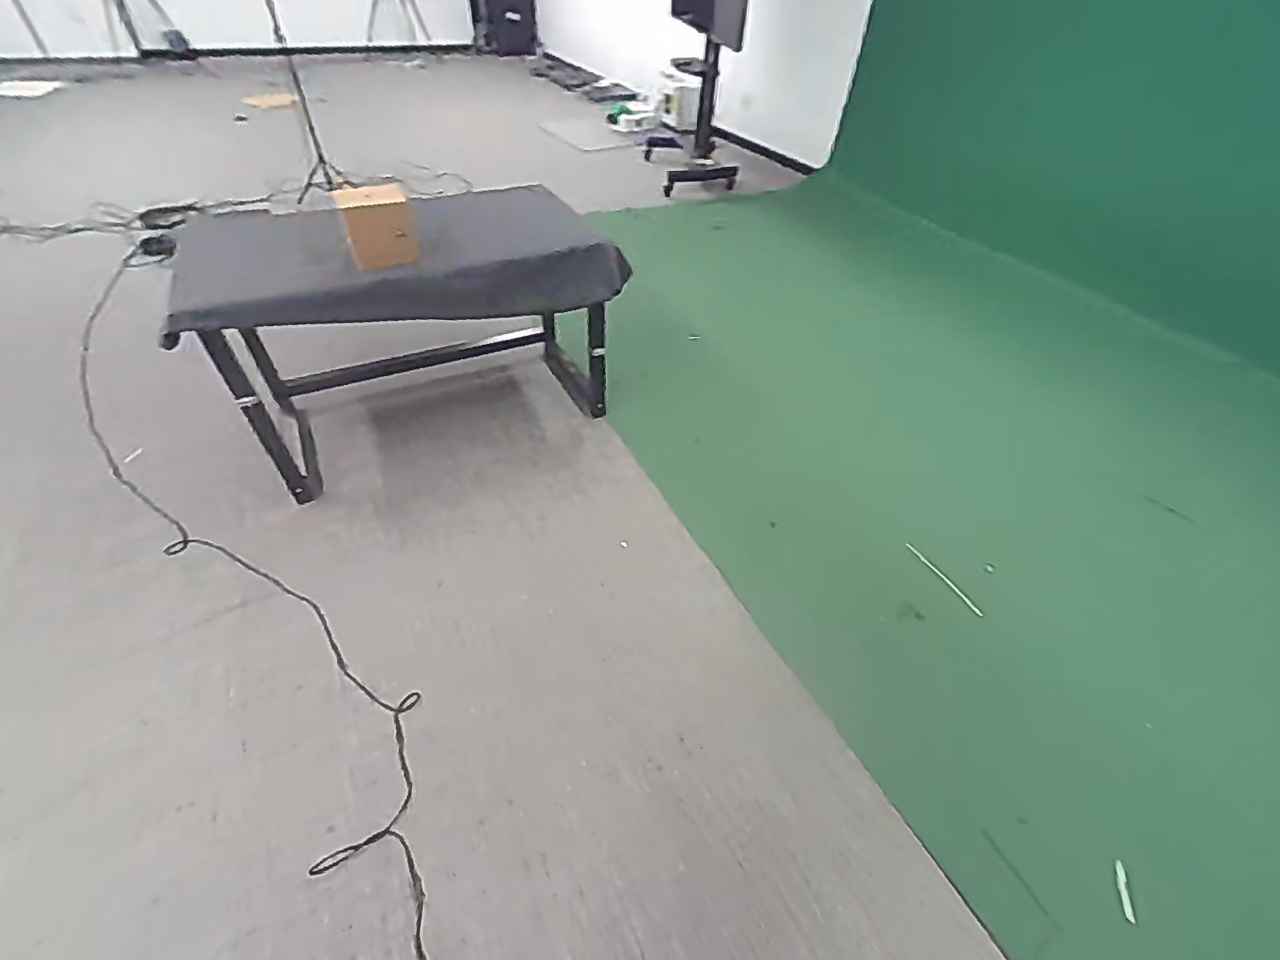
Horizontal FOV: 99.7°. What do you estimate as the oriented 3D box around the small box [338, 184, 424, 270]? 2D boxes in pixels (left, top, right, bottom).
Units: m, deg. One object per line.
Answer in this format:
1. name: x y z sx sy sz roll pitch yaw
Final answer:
1. small box: -0.739 -0.731 1.561 0.179 0.176 0.168 -21 49 -20
